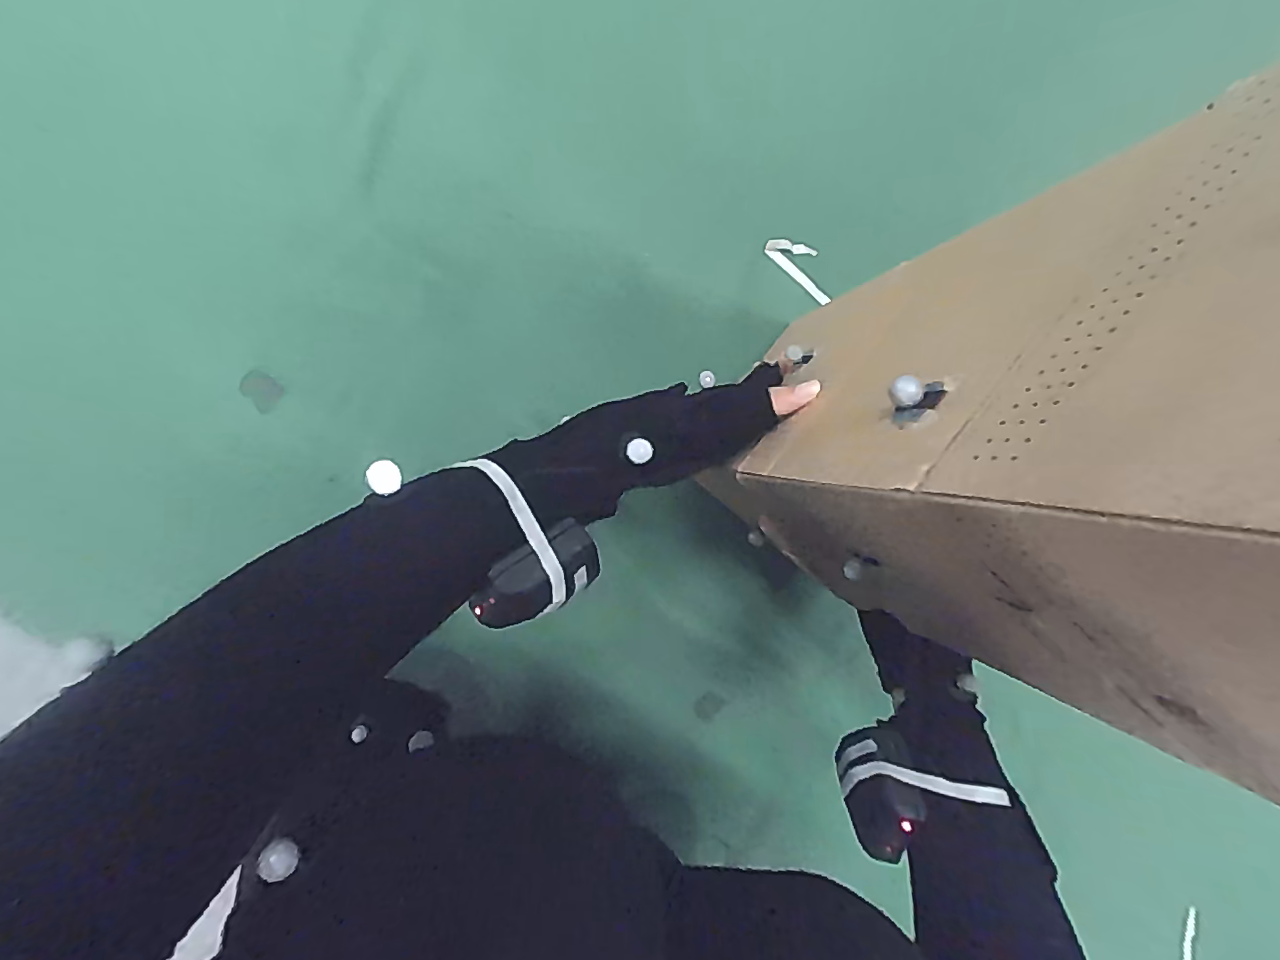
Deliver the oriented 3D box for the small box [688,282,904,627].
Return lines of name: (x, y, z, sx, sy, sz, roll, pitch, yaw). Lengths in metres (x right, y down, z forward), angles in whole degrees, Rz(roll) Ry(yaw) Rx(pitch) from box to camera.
small box: (0.162, -0.020, 0.439, 0.168, 0.176, 0.179, 40, 87, -9)

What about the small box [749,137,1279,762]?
small box: (0.186, -0.012, 0.278, 0.168, 0.176, 0.179, 39, 87, -9)
